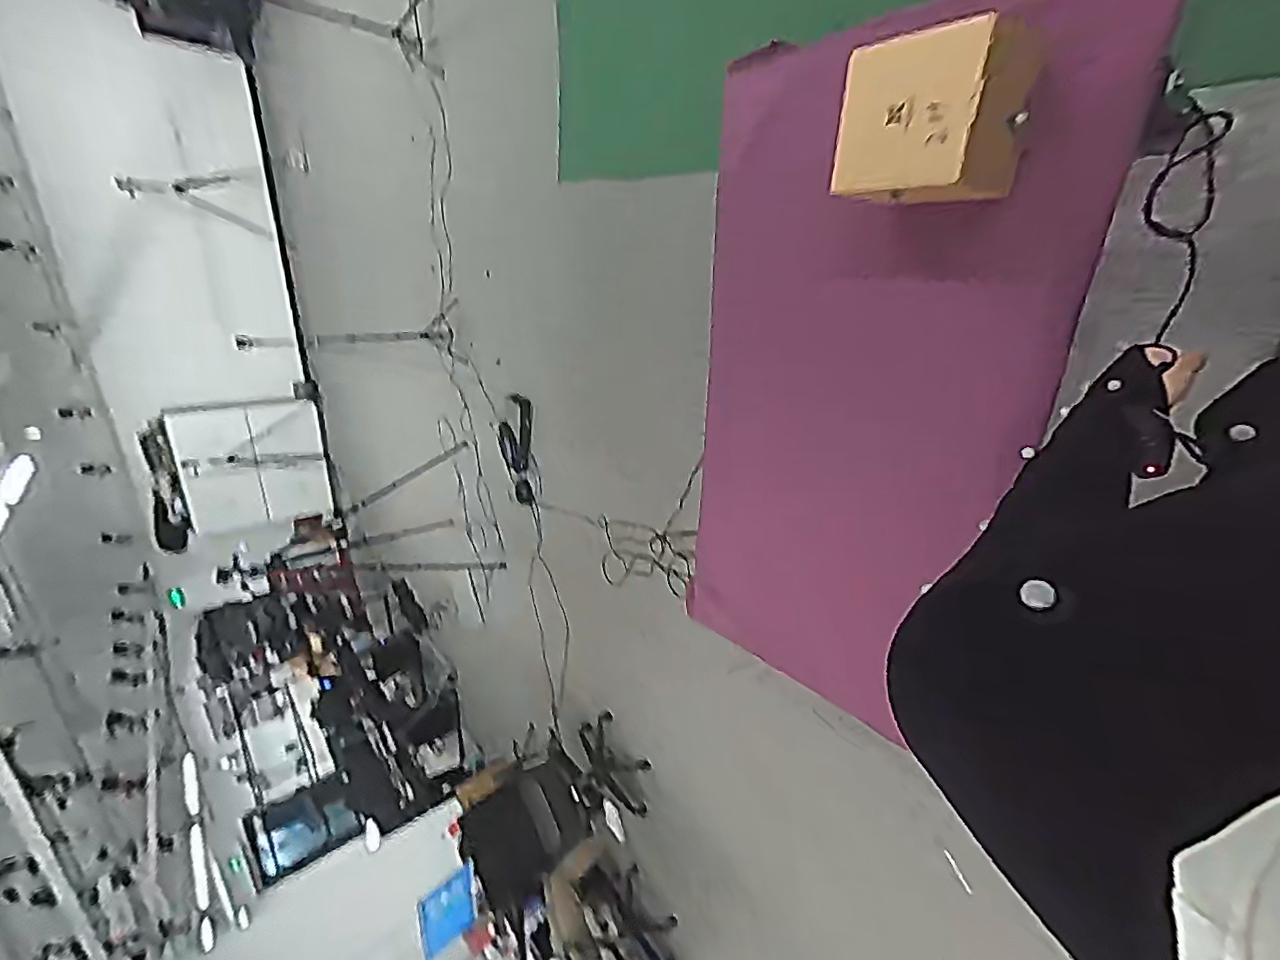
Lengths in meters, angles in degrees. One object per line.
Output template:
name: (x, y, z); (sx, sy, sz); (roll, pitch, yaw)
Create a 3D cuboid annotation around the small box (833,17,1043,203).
small box: (0.394, -0.474, 0.726); (0.179, 0.176, 0.168); (26, 123, 45)
